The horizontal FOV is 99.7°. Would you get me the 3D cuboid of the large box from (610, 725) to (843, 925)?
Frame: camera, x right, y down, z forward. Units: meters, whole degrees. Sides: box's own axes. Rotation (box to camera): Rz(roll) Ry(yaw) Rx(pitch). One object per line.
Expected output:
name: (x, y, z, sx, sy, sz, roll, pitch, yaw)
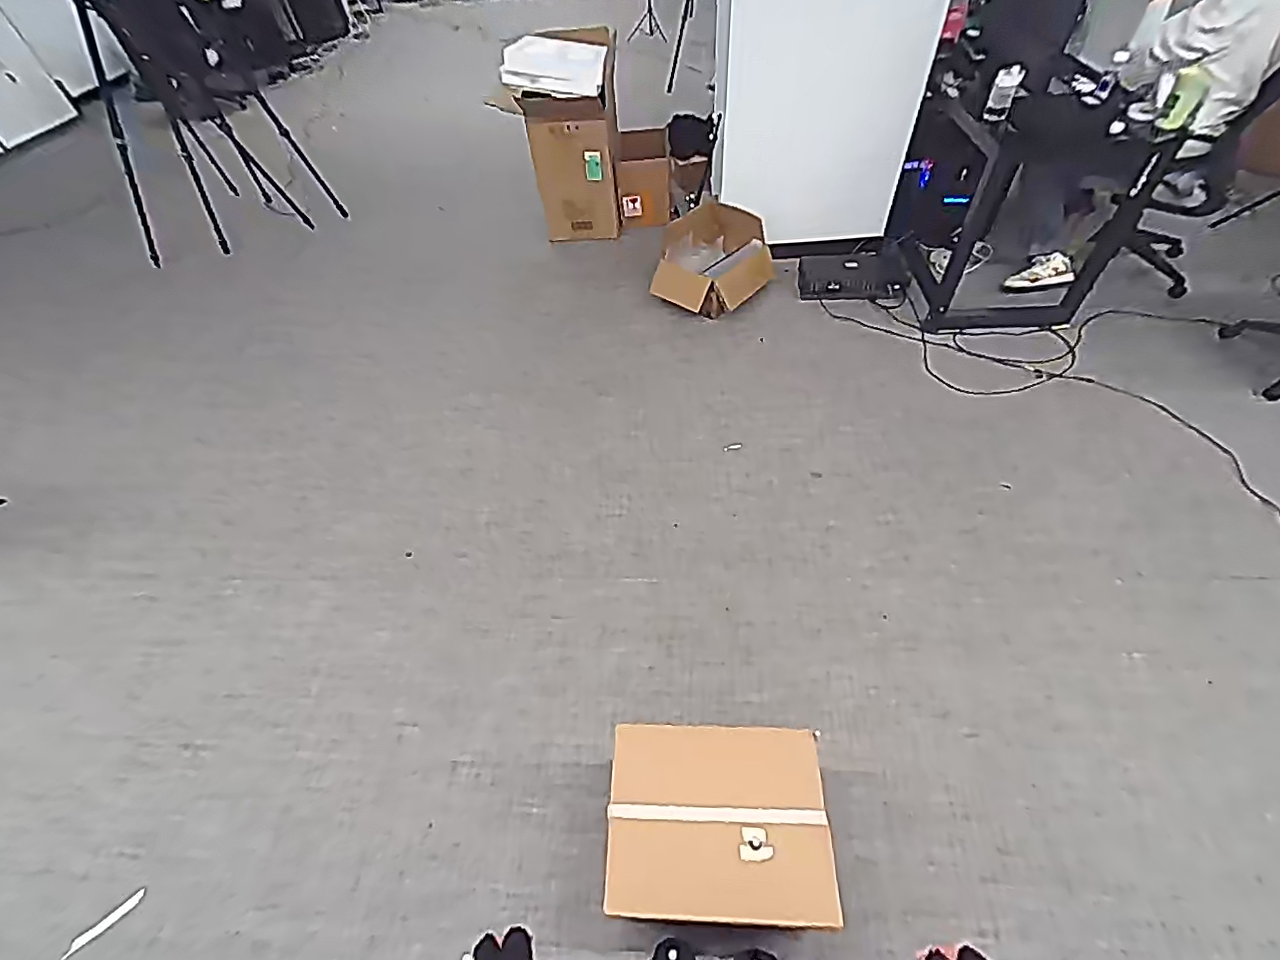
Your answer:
large box: (0.155, 0.719, 1.123, 0.408, 0.320, 0.320, -1, 51, 4)
